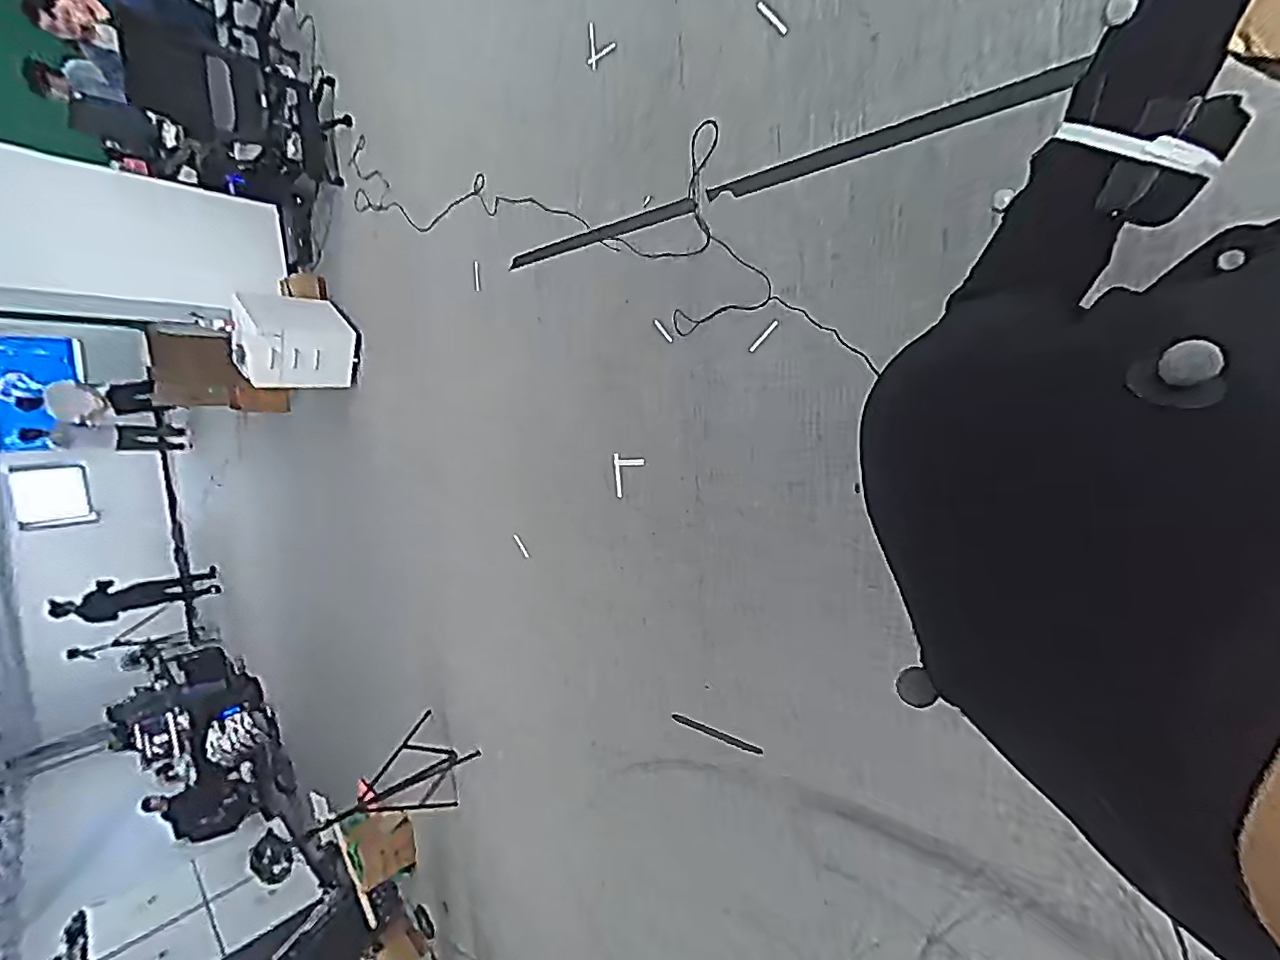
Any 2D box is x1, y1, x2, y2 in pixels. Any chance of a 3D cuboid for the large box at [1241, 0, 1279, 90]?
[{"bbox_3d":[0.589,-0.304,0.185,0.408,0.320,0.320,40,138,35],"label":"large box"}]
